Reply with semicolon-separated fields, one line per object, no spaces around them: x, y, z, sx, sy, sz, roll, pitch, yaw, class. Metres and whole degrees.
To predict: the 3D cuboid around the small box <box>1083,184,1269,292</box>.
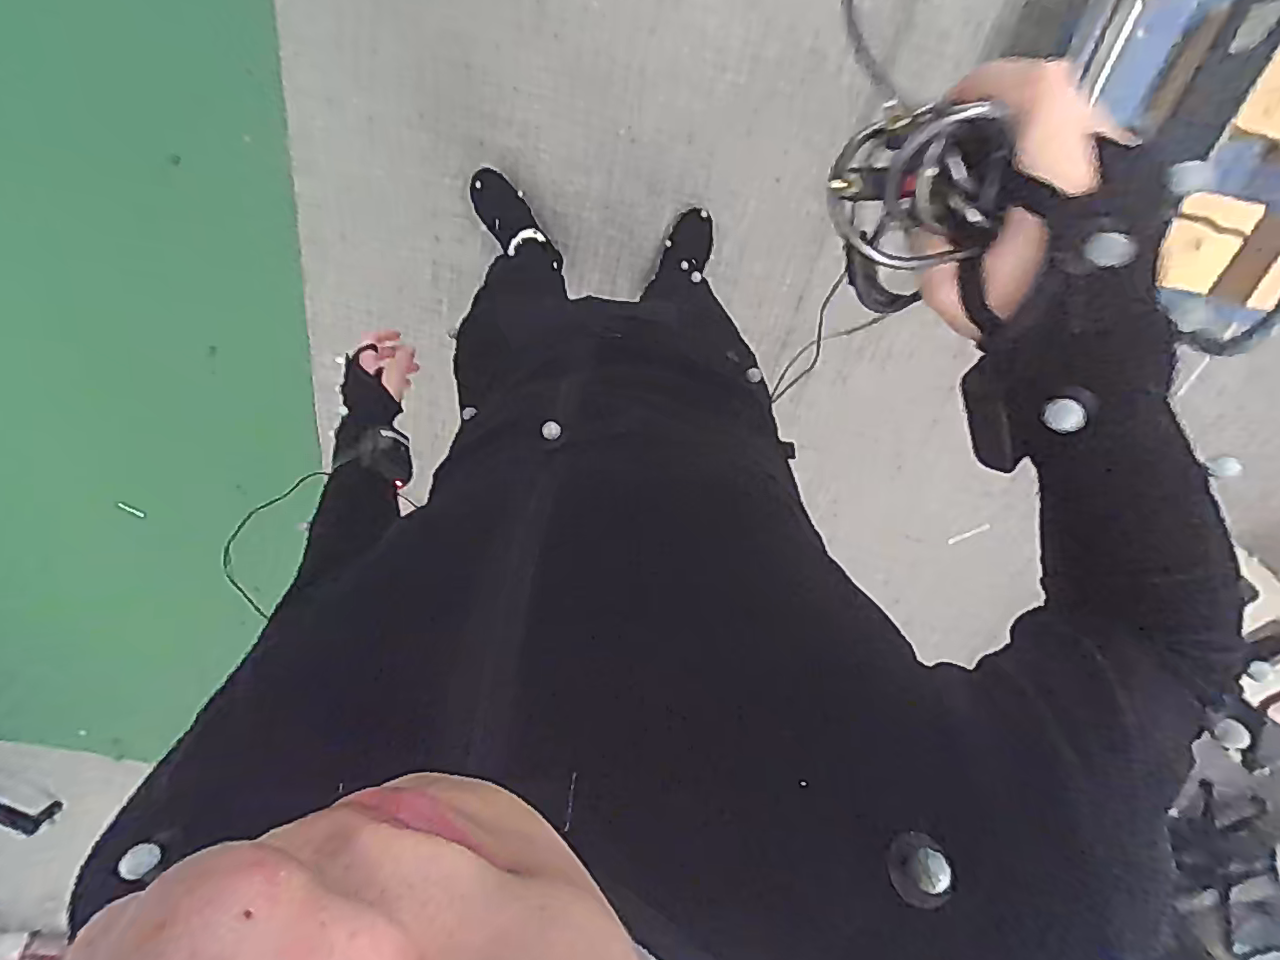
1.096;-0.508;1.125;0.179;0.176;0.168;9;122;-4;small box

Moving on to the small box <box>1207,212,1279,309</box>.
1.355;-0.463;1.144;0.179;0.176;0.168;7;122;-2;small box
